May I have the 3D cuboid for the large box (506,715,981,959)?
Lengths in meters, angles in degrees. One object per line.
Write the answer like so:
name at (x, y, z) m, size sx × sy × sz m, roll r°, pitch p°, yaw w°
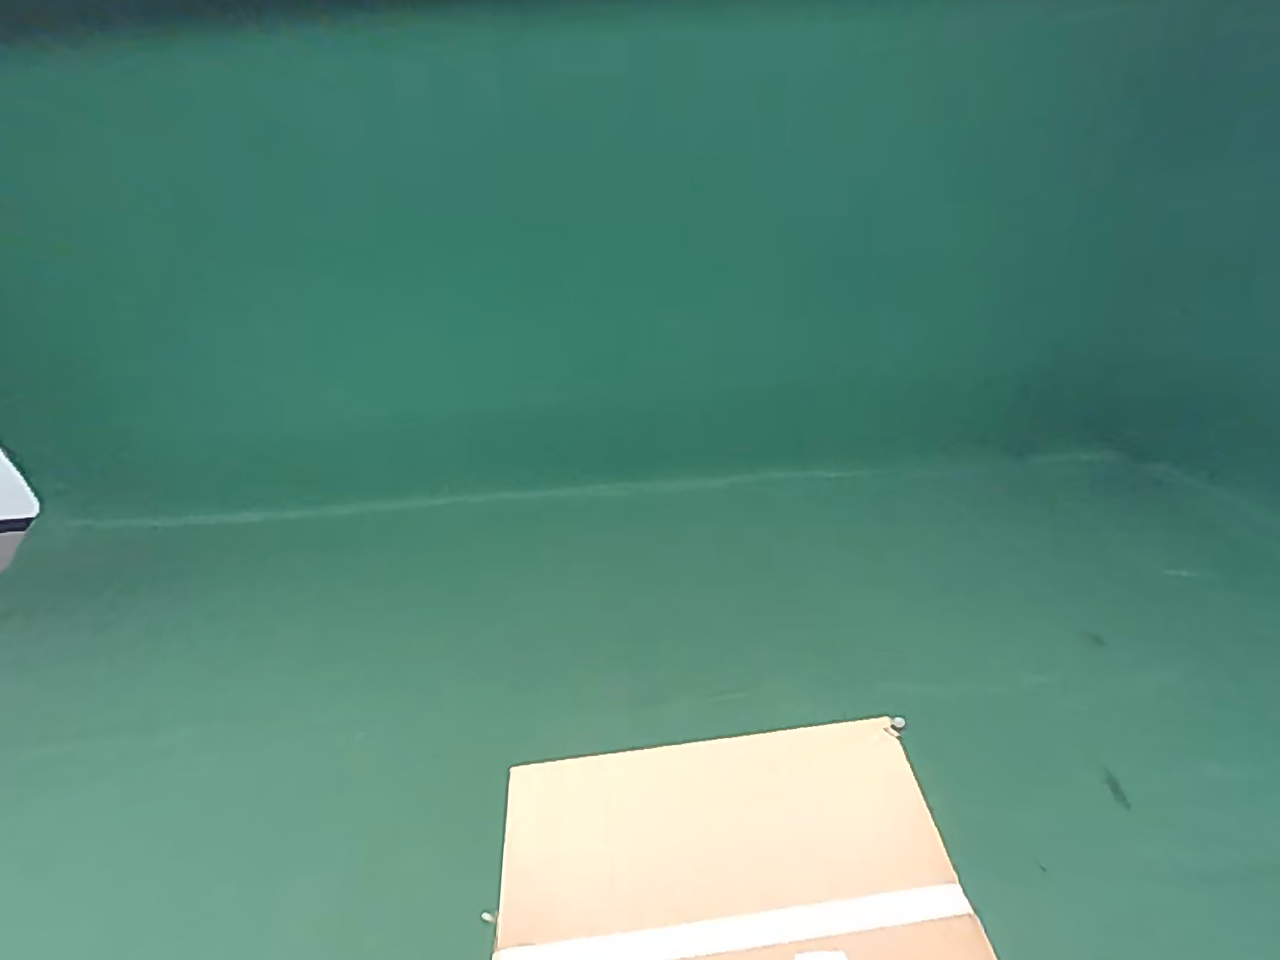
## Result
large box at (0.088, 0.493, 0.573) m, size 0.408 × 0.320 × 0.320 m, roll -7°, pitch 45°, yaw -2°
